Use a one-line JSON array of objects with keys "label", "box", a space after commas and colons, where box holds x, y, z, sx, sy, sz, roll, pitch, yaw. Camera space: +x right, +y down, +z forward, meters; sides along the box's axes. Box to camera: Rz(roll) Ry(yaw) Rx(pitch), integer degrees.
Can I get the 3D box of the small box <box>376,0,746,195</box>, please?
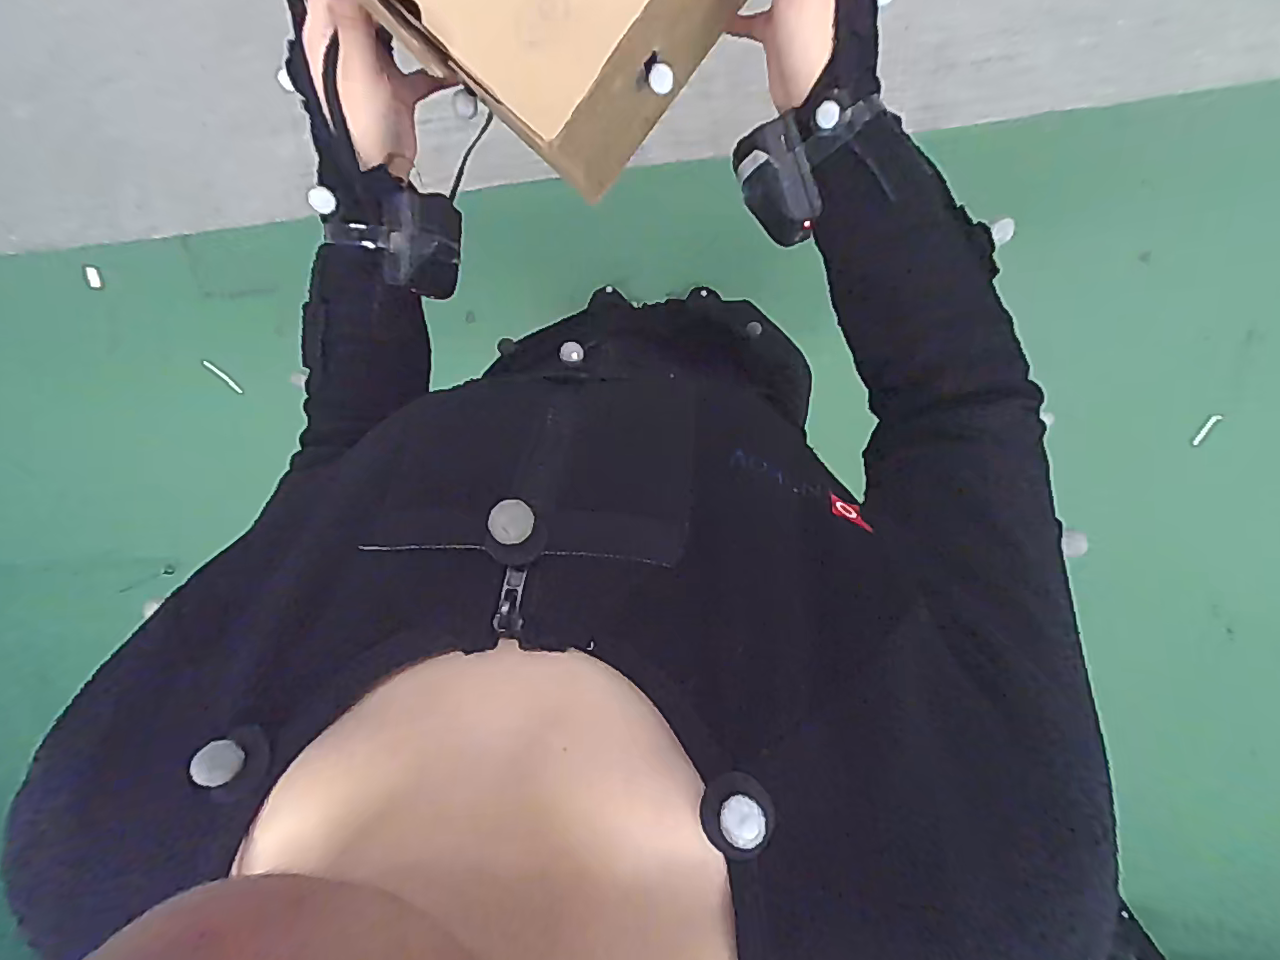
[{"label": "small box", "box": [-0.041, -0.296, 0.305, 0.168, 0.176, 0.179, 40, 107, -10]}]
